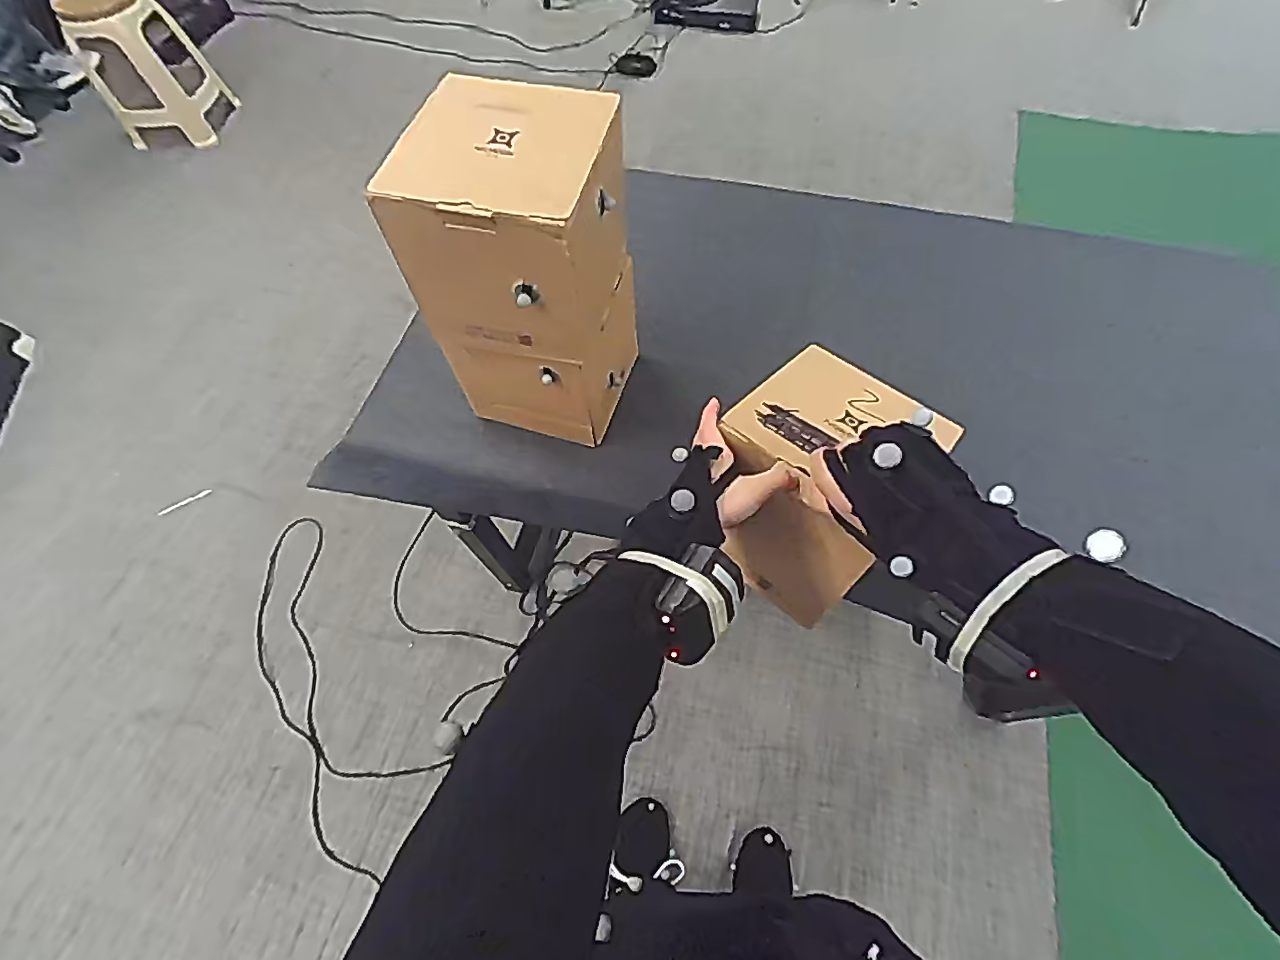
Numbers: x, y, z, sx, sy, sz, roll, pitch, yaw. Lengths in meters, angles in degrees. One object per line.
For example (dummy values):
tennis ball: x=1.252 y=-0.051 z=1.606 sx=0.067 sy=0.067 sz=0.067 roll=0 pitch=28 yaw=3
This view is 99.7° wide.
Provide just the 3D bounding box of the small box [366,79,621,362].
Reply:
small box: x=-0.115 y=-0.238 z=0.515 sx=0.168 sy=0.176 sz=0.179 roll=11 pitch=62 yaw=6

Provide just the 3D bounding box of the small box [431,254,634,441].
small box: x=-0.114 y=-0.169 z=0.662 sx=0.179 sy=0.176 sz=0.168 roll=16 pitch=63 yaw=10
